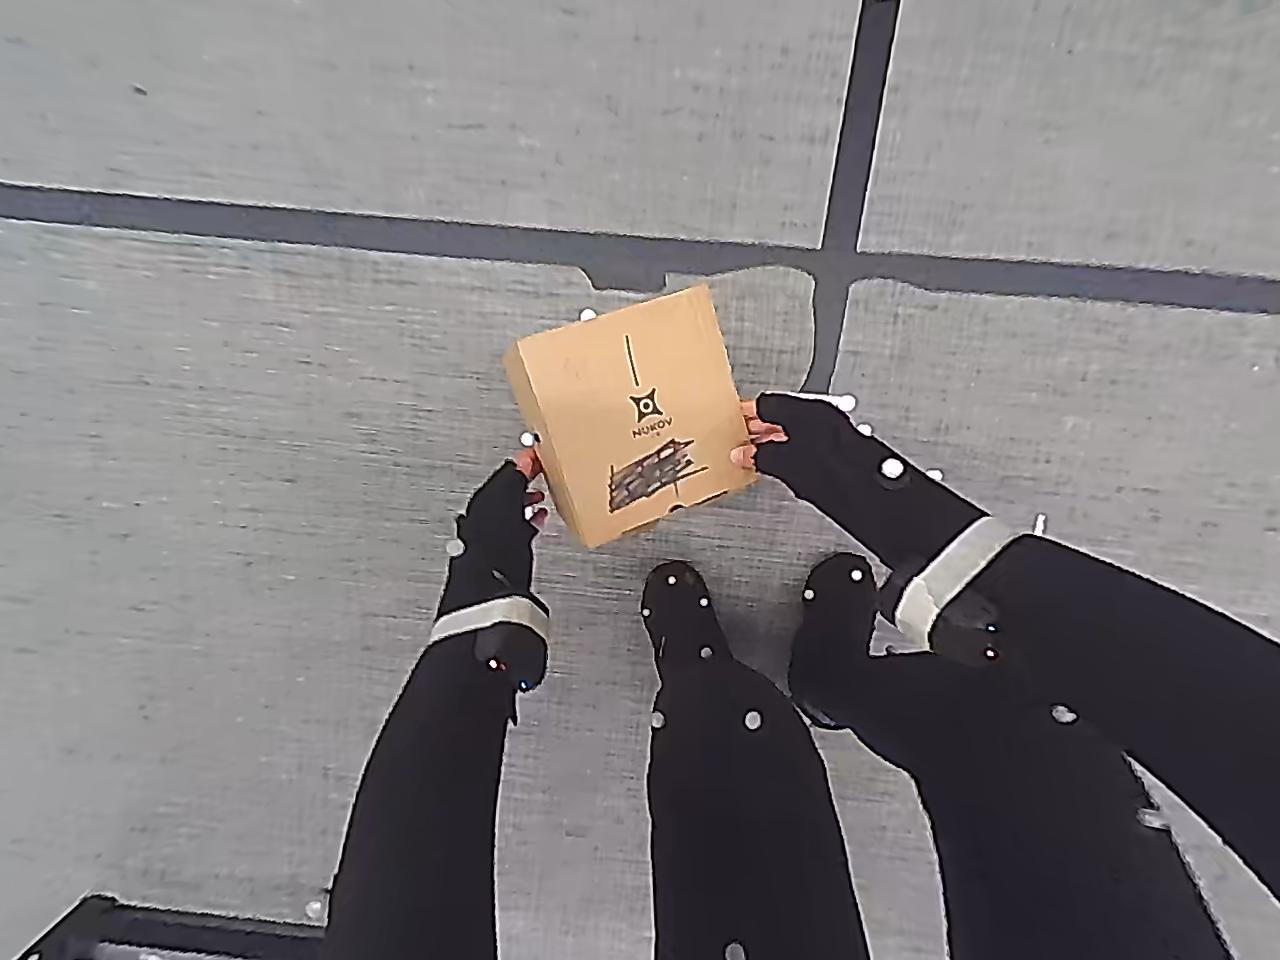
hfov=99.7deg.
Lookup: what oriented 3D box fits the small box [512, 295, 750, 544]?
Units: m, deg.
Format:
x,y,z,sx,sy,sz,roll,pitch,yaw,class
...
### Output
x,y,z,sx,sy,sz,roll,pitch,yaw,class
-0.019,-0.061,0.528,0.168,0.176,0.179,-19,101,-14,small box
